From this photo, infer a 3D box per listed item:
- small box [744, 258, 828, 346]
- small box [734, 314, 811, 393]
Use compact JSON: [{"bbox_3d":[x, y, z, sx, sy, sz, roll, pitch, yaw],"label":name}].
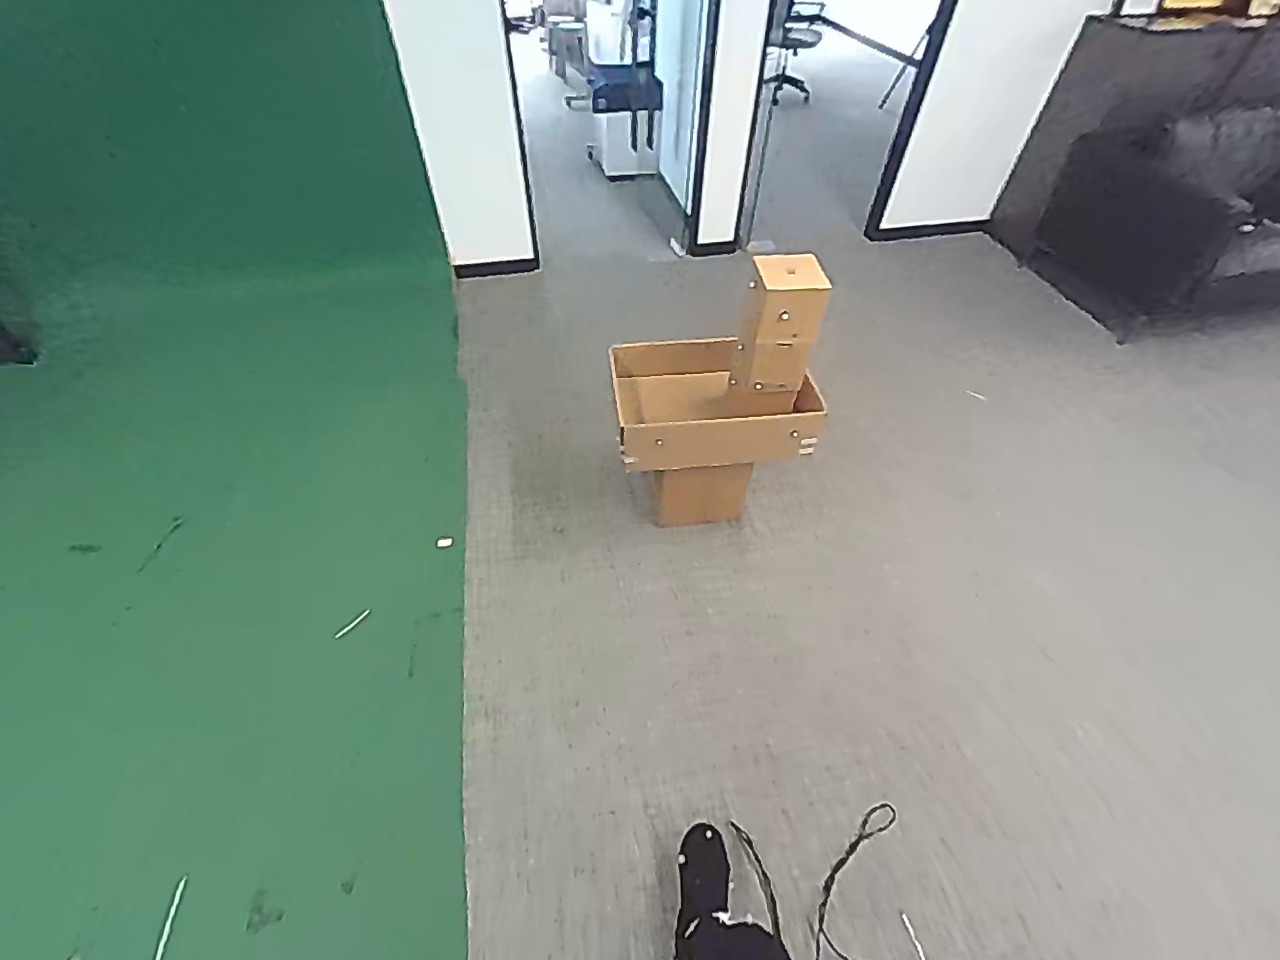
[{"bbox_3d":[0.384,-0.473,1.454,0.168,0.176,0.179,-3,48,-3],"label":"small box"},{"bbox_3d":[0.379,-0.367,1.576,0.168,0.176,0.179,-3,48,-3],"label":"small box"}]
